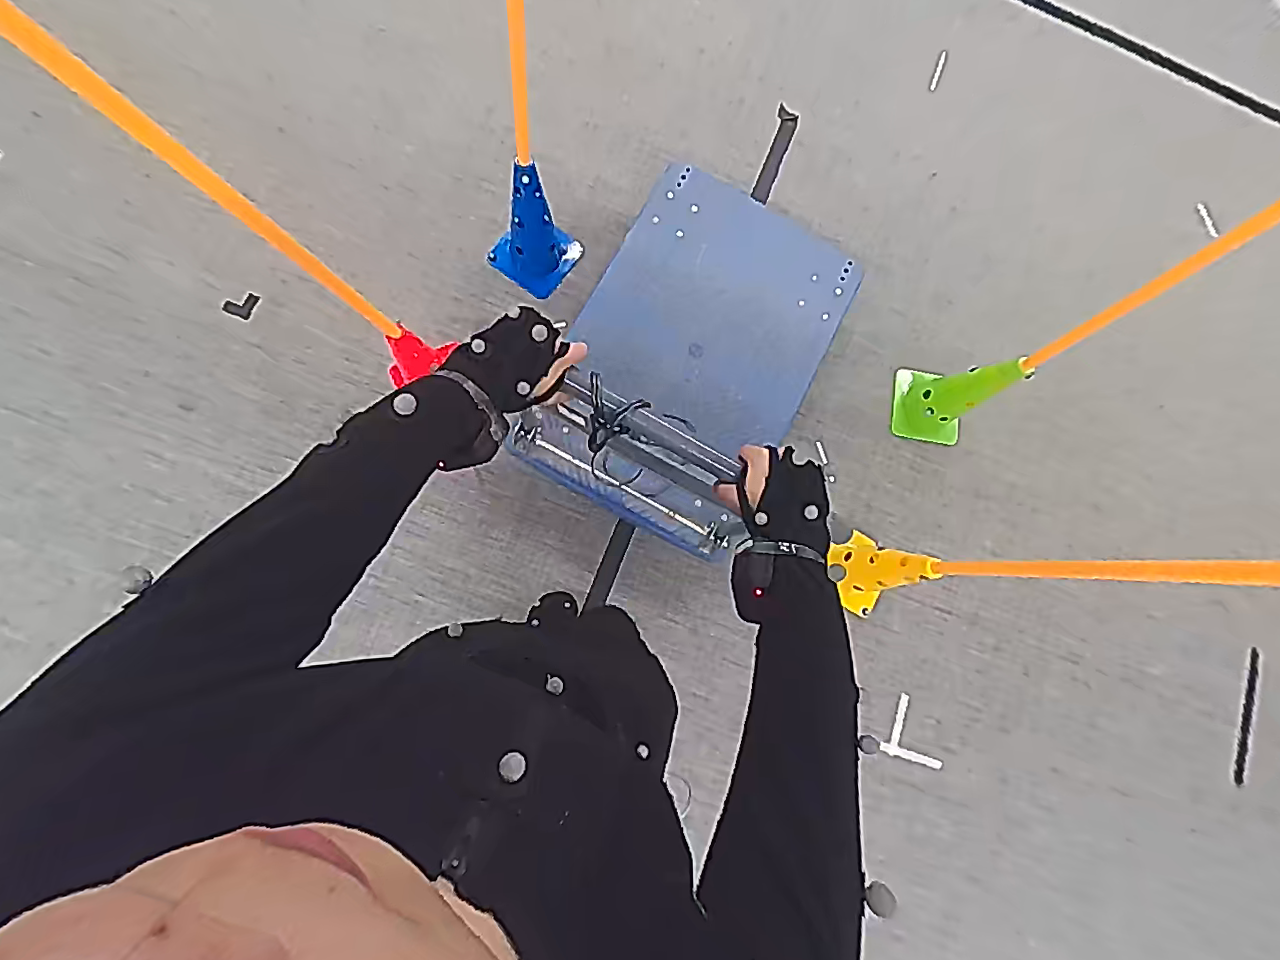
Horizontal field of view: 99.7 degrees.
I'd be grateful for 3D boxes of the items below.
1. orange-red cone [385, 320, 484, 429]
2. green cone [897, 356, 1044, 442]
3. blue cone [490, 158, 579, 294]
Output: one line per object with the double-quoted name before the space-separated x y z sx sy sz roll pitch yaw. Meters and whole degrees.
"orange-red cone" -0.495 -0.269 1.210 0.199 0.360 0.198 -22 86 -11
"green cone" 0.844 -0.237 1.361 0.200 0.368 0.202 8 82 -5
"blue cone" -0.266 -0.637 1.304 0.193 0.380 0.192 37 80 -1
